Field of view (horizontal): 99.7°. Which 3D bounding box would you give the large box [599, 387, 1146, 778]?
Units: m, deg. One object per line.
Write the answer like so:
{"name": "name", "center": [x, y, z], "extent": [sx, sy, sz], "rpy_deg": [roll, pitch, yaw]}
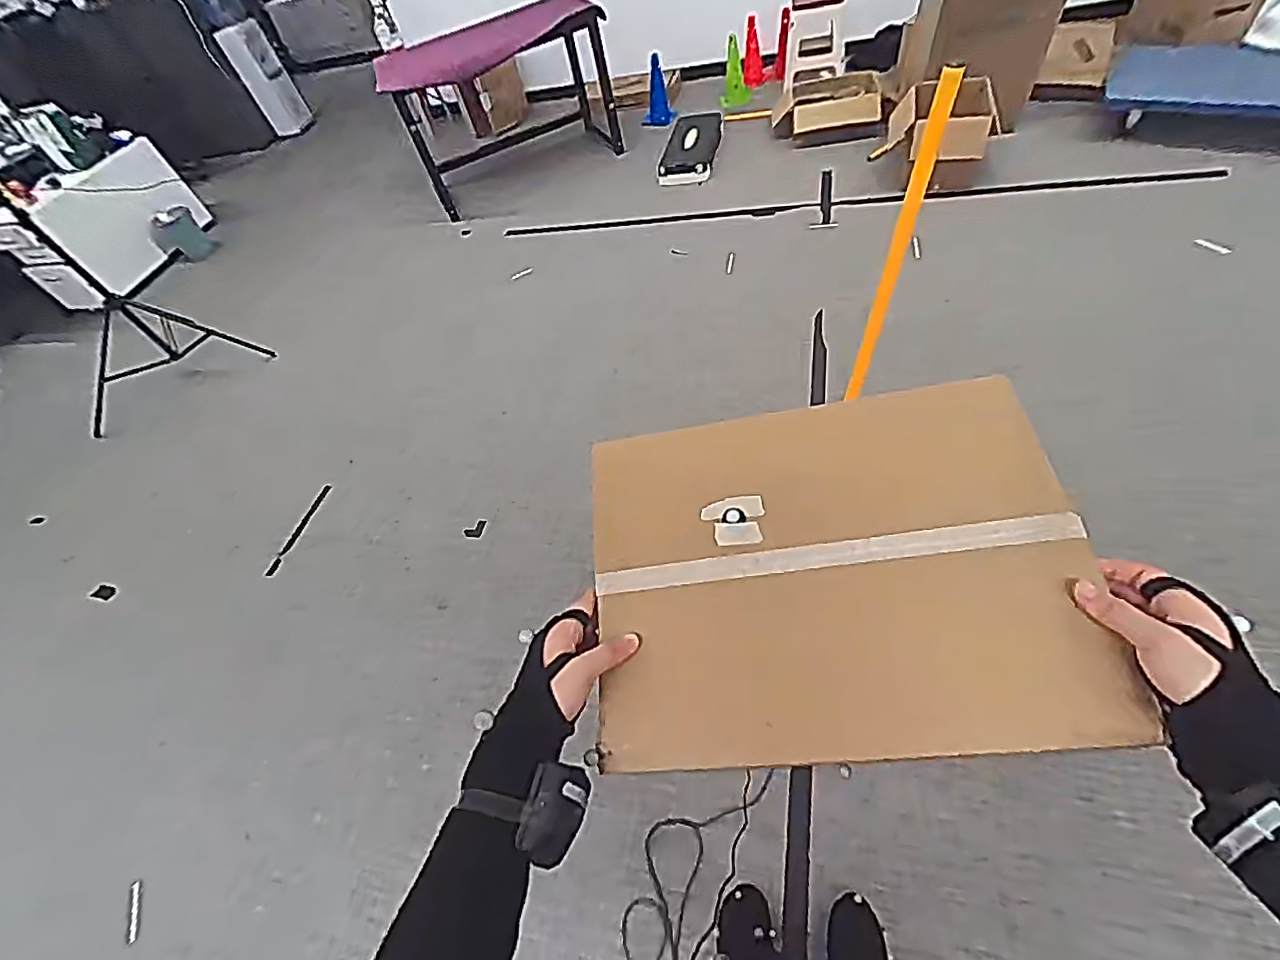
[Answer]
{"name": "large box", "center": [0.195, 0.143, 0.611], "extent": [0.408, 0.320, 0.320], "rpy_deg": [-10, 61, 12]}
